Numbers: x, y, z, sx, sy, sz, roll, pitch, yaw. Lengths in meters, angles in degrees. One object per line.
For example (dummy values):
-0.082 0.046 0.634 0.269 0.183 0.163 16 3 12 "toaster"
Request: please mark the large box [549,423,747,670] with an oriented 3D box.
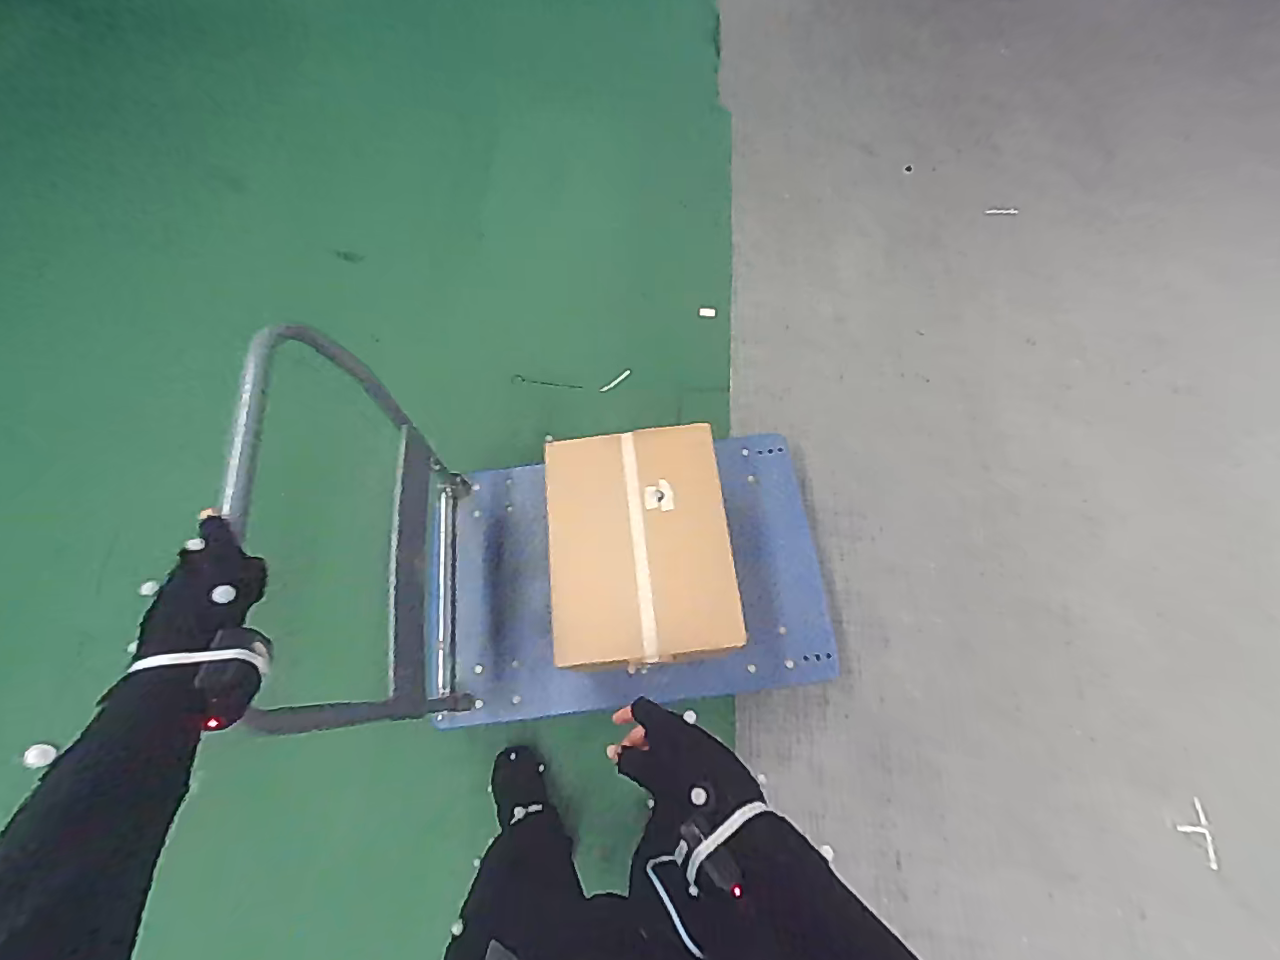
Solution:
0.011 0.148 1.091 0.320 0.320 0.408 -7 67 0 "large box"
